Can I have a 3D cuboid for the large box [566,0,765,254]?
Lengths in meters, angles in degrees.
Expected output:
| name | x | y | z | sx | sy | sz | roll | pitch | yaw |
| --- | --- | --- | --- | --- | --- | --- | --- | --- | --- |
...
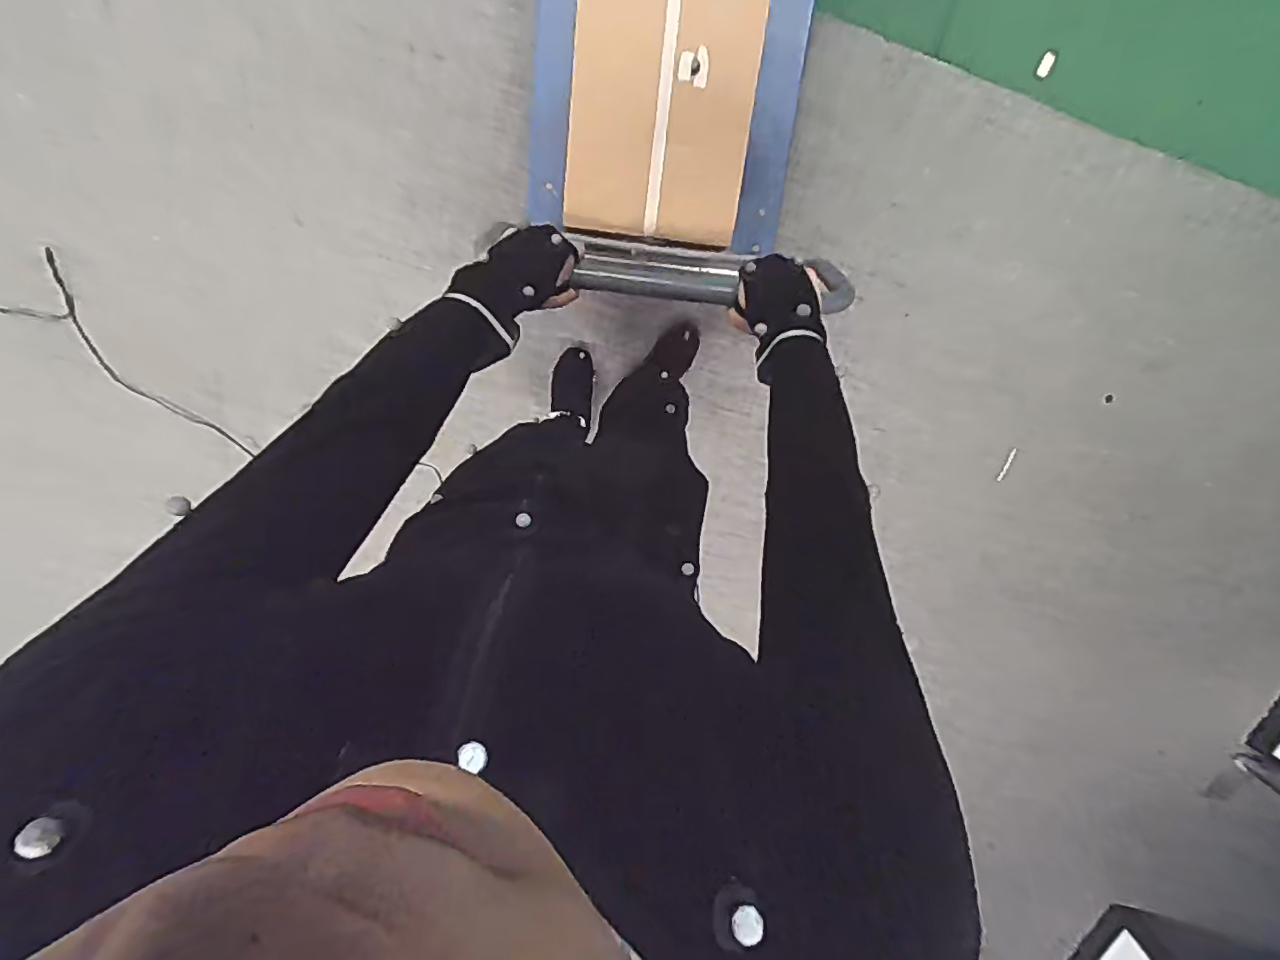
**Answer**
| name | x | y | z | sx | sy | sz | roll | pitch | yaw |
| --- | --- | --- | --- | --- | --- | --- | --- | --- | --- |
| large box | 0.036 | -0.691 | 1.078 | 0.320 | 0.320 | 0.408 | 6 | 108 | -3 |
